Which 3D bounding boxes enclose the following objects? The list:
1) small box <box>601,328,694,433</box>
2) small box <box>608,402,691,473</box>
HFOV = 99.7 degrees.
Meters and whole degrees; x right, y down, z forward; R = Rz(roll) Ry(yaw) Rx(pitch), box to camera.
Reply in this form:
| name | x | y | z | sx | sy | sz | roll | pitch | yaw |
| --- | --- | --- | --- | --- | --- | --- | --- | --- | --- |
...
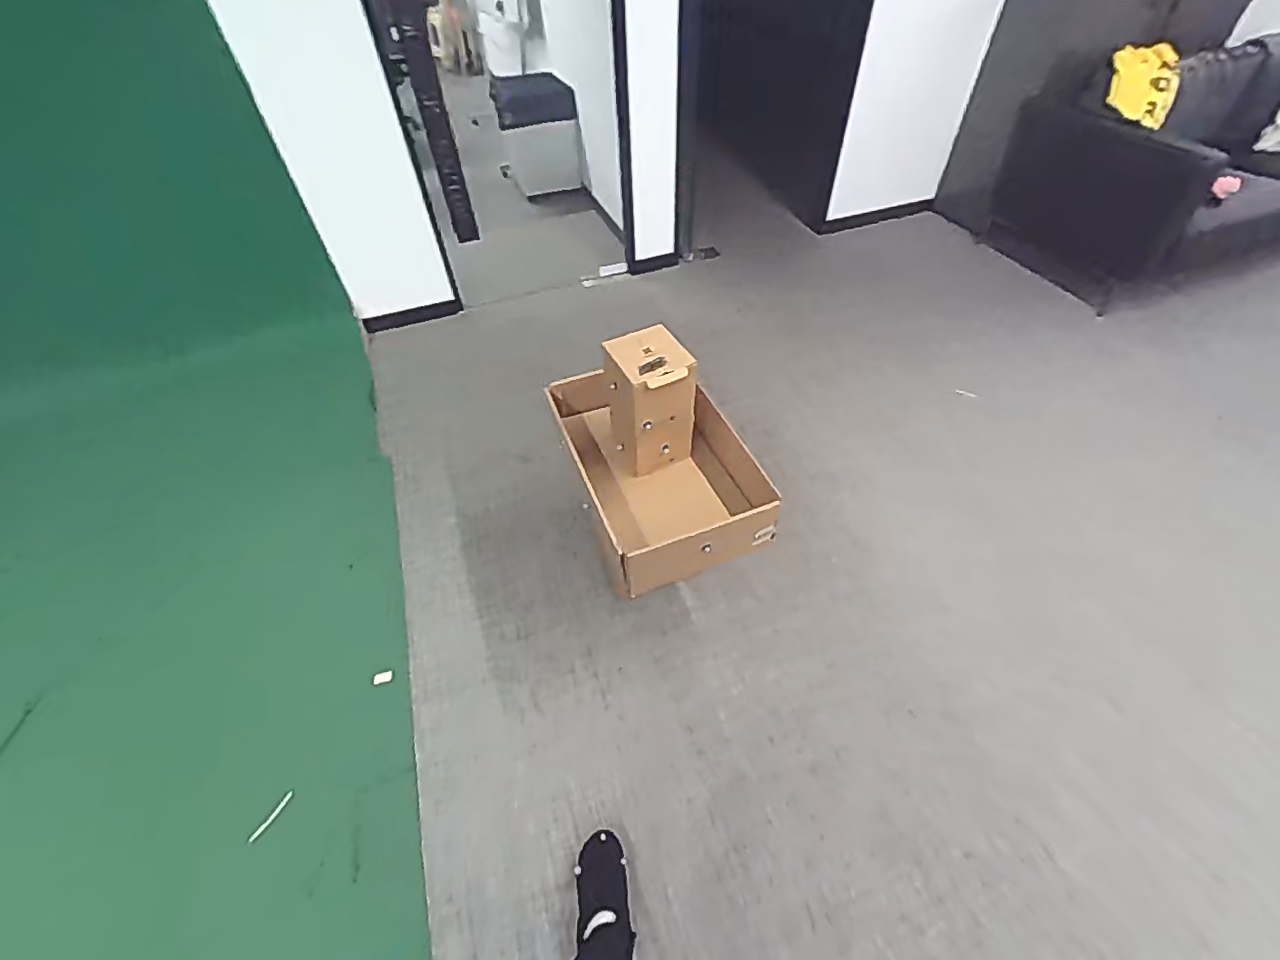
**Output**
| name | x | y | z | sx | sy | sz | roll | pitch | yaw |
| --- | --- | --- | --- | --- | --- | --- | --- | --- | --- |
| small box | 0.018 | -0.236 | 1.321 | 0.168 | 0.176 | 0.179 | -22 | 53 | -16 |
| small box | 0.024 | -0.139 | 1.454 | 0.168 | 0.176 | 0.179 | -20 | 55 | -16 |
